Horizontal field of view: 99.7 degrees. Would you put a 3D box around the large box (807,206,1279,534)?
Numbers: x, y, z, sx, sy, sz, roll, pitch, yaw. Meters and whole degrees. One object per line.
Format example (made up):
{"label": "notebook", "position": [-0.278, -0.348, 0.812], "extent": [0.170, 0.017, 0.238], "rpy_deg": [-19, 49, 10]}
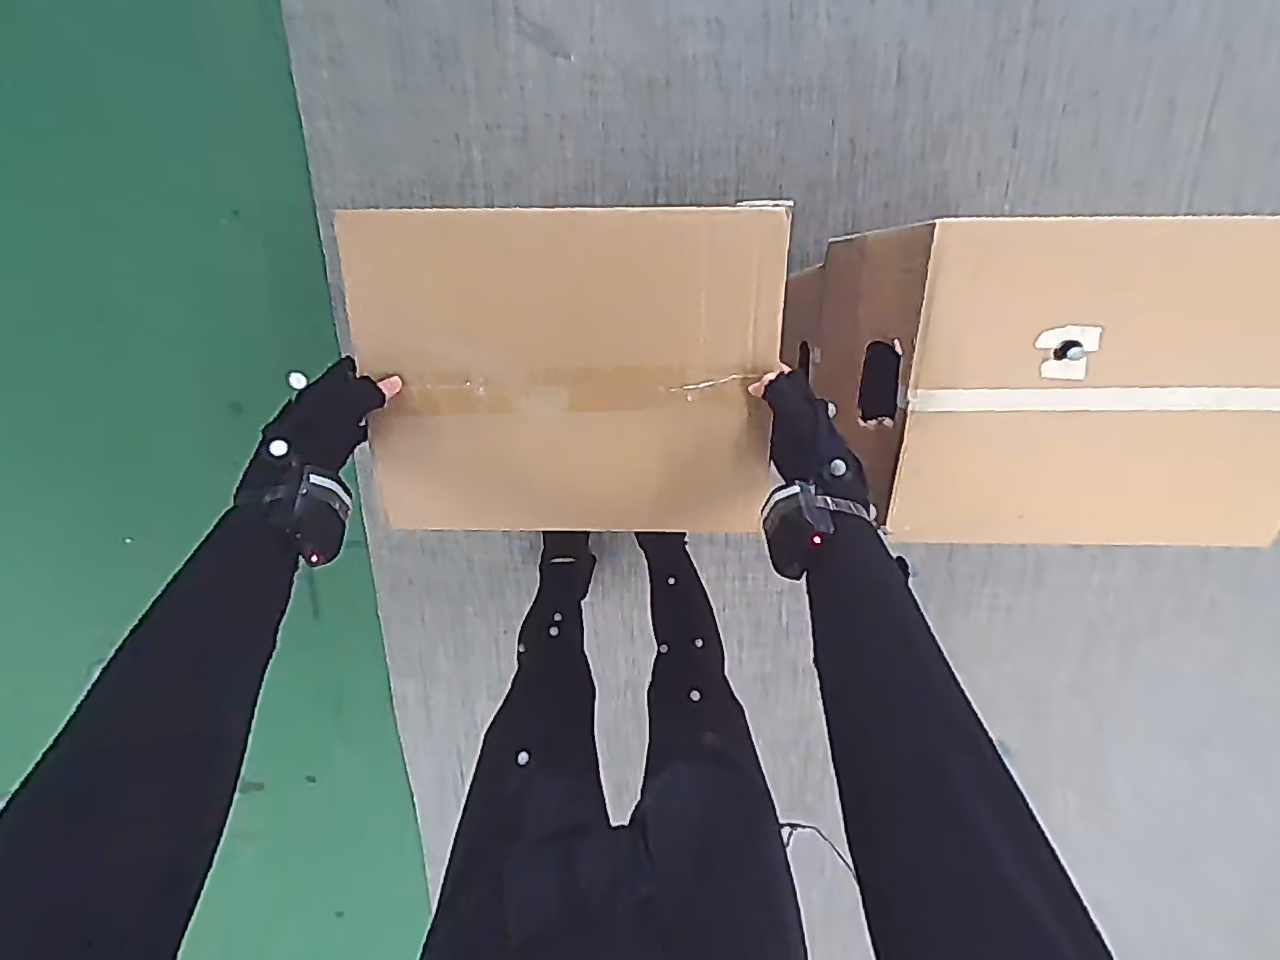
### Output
{"label": "large box", "position": [0.452, -0.141, 0.655], "extent": [0.408, 0.320, 0.320], "rpy_deg": [1, 111, 3]}
